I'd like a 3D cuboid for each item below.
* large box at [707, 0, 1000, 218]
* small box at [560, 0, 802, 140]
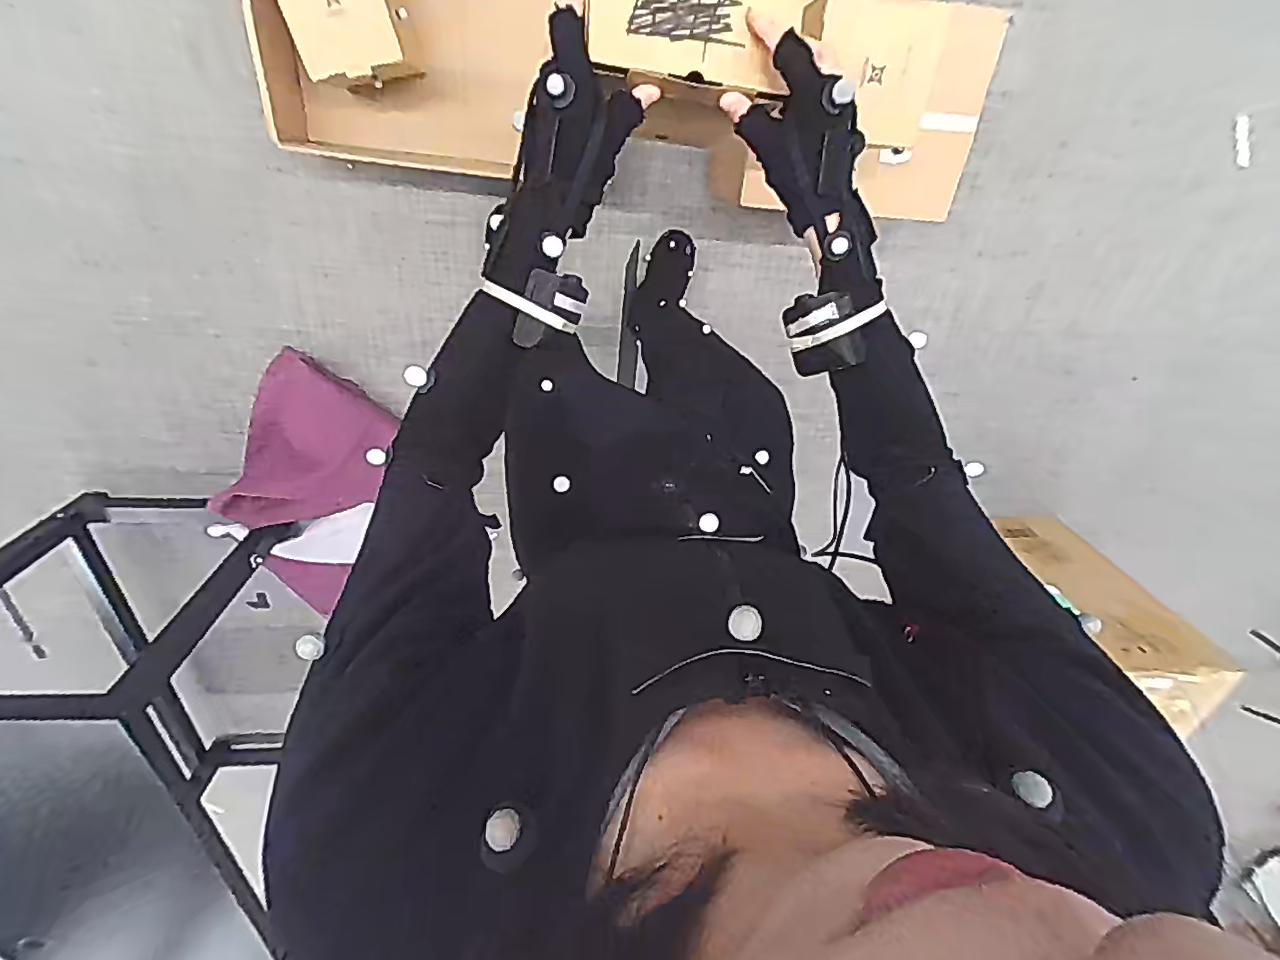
[{"bbox_3d":[0.367,-0.704,1.058,0.408,0.320,0.320,0,121,-7],"label":"large box"},{"bbox_3d":[0.026,-0.408,0.452,0.168,0.176,0.179,-1,109,-15],"label":"small box"}]
